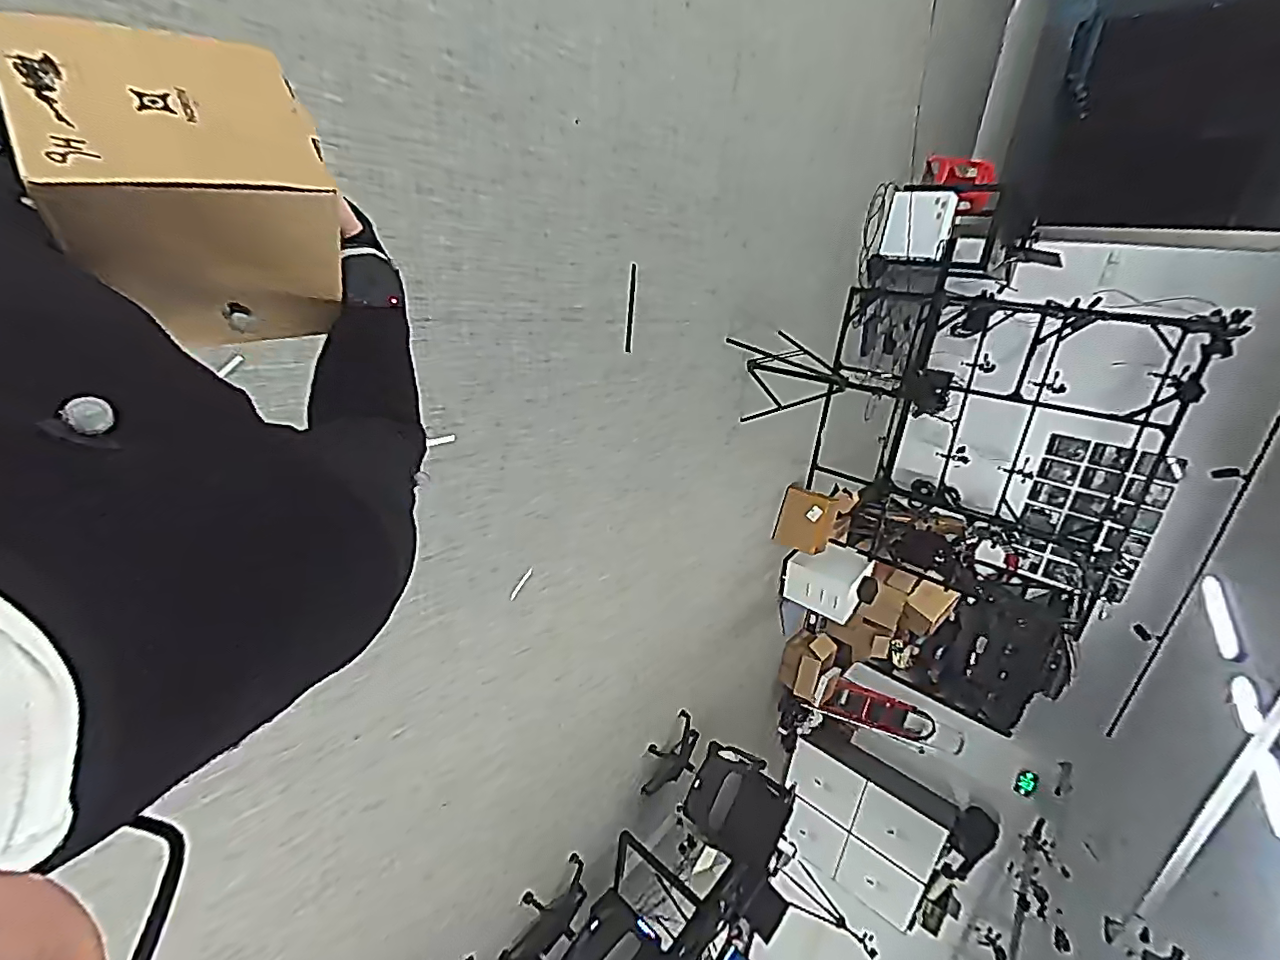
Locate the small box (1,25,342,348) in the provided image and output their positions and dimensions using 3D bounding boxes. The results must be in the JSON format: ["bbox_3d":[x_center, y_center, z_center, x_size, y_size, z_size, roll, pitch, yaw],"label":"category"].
[{"bbox_3d":[-0.383,-0.239,0.475,0.179,0.168,0.176,-20,163,-35],"label":"small box"}]
